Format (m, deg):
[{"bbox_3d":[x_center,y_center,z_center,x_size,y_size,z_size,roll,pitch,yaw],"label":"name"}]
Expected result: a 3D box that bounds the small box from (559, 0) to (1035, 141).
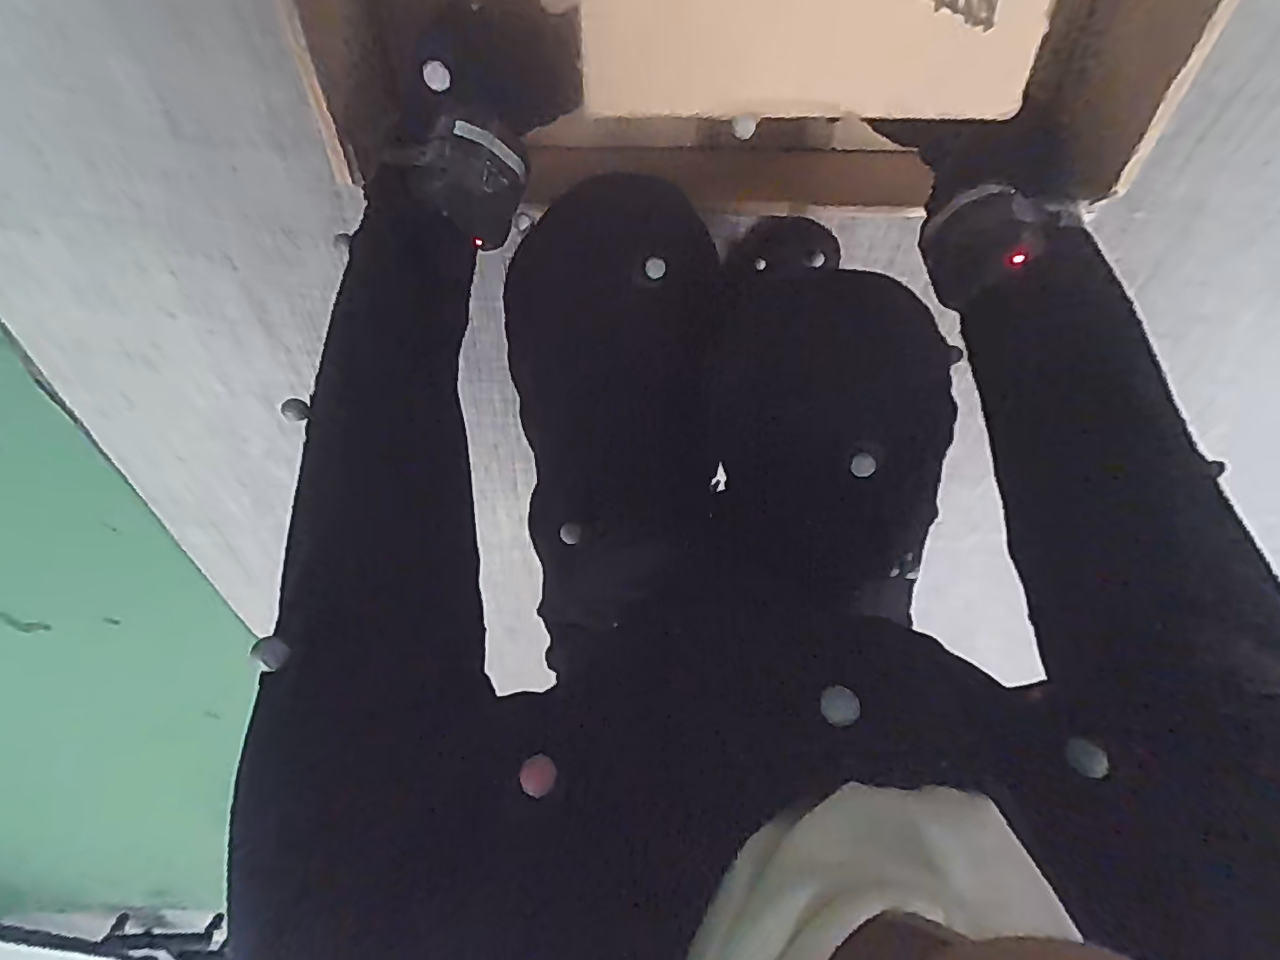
[{"bbox_3d":[0.057,-0.256,0.231,0.179,0.176,0.168,1,129,-2],"label":"small box"}]
